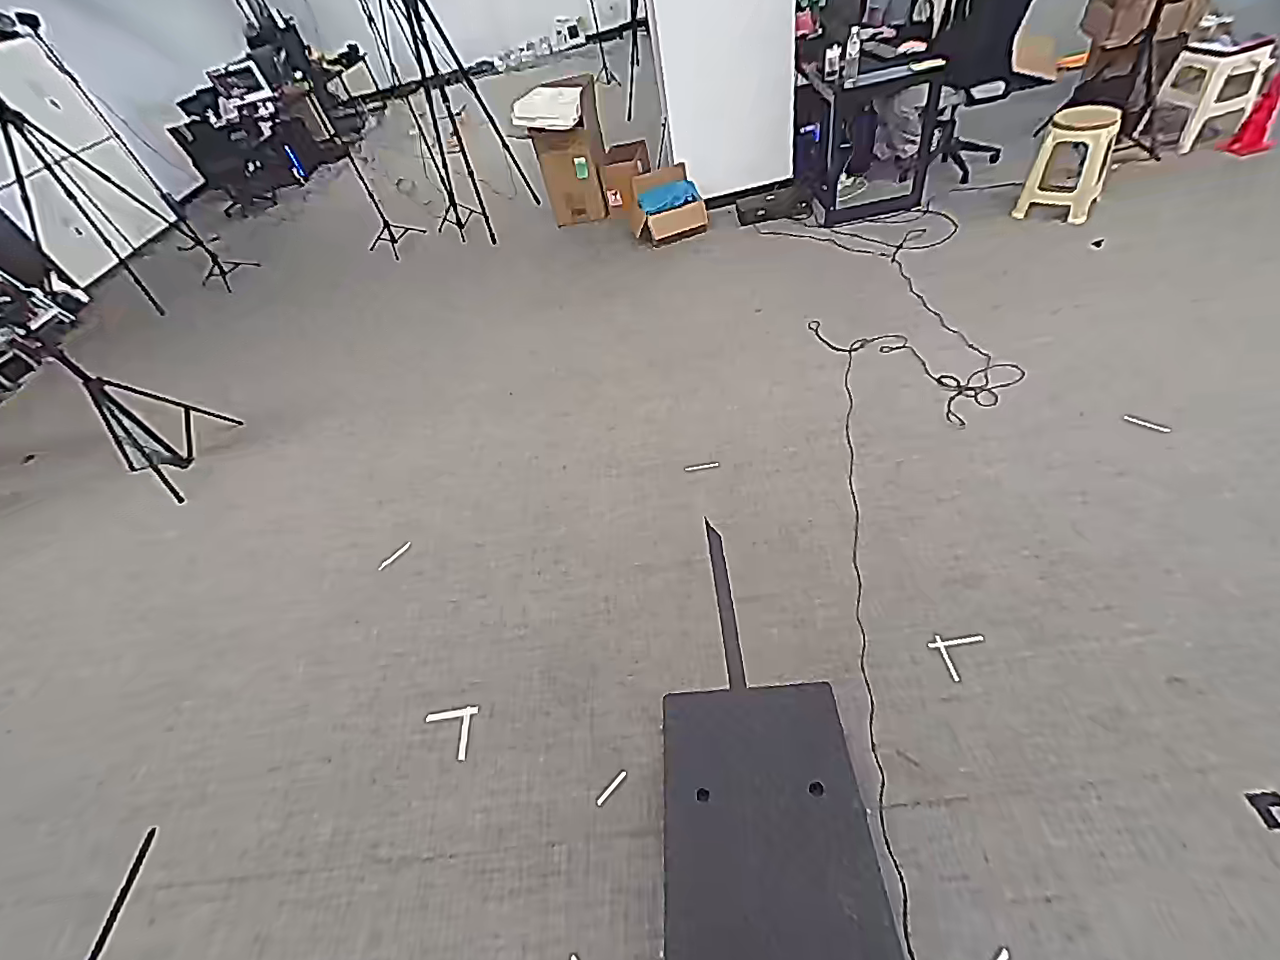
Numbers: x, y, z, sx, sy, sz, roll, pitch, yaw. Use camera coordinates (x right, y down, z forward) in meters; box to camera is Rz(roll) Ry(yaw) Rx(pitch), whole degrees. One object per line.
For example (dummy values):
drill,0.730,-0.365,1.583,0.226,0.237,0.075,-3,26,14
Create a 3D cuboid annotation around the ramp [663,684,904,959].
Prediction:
ramp,0.292,0.925,1.204,0.509,0.206,0.991,-10,46,8
